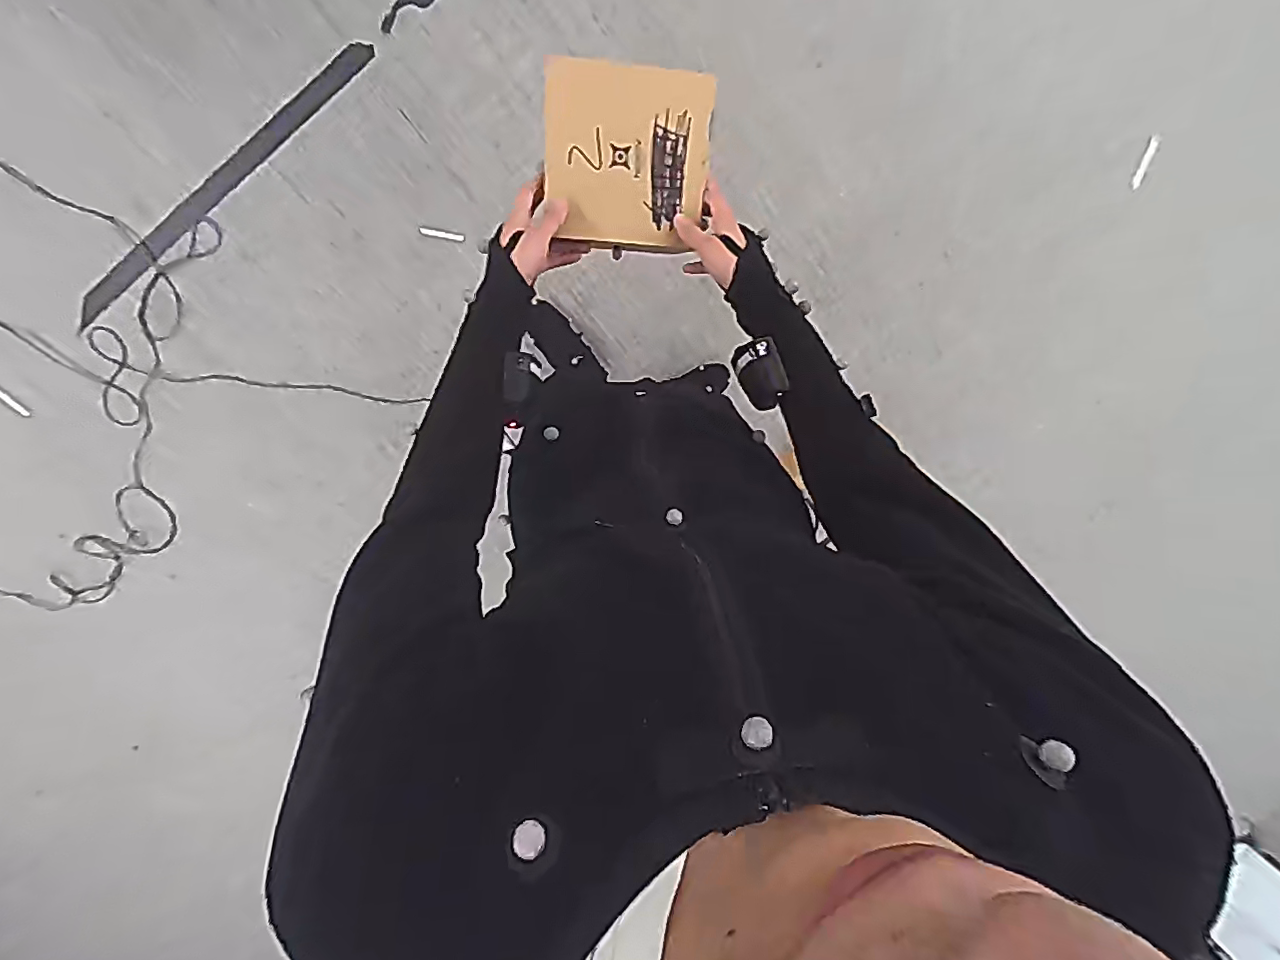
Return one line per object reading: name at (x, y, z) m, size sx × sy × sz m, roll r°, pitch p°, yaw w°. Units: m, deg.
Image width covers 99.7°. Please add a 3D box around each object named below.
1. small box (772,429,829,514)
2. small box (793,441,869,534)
small box at (0.538, -0.032, 1.657) m, size 0.168 × 0.176 × 0.179 m, roll -44°, pitch 109°, yaw 8°
small box at (0.561, 0.016, 1.502) m, size 0.168 × 0.176 × 0.179 m, roll -42°, pitch 109°, yaw 7°
